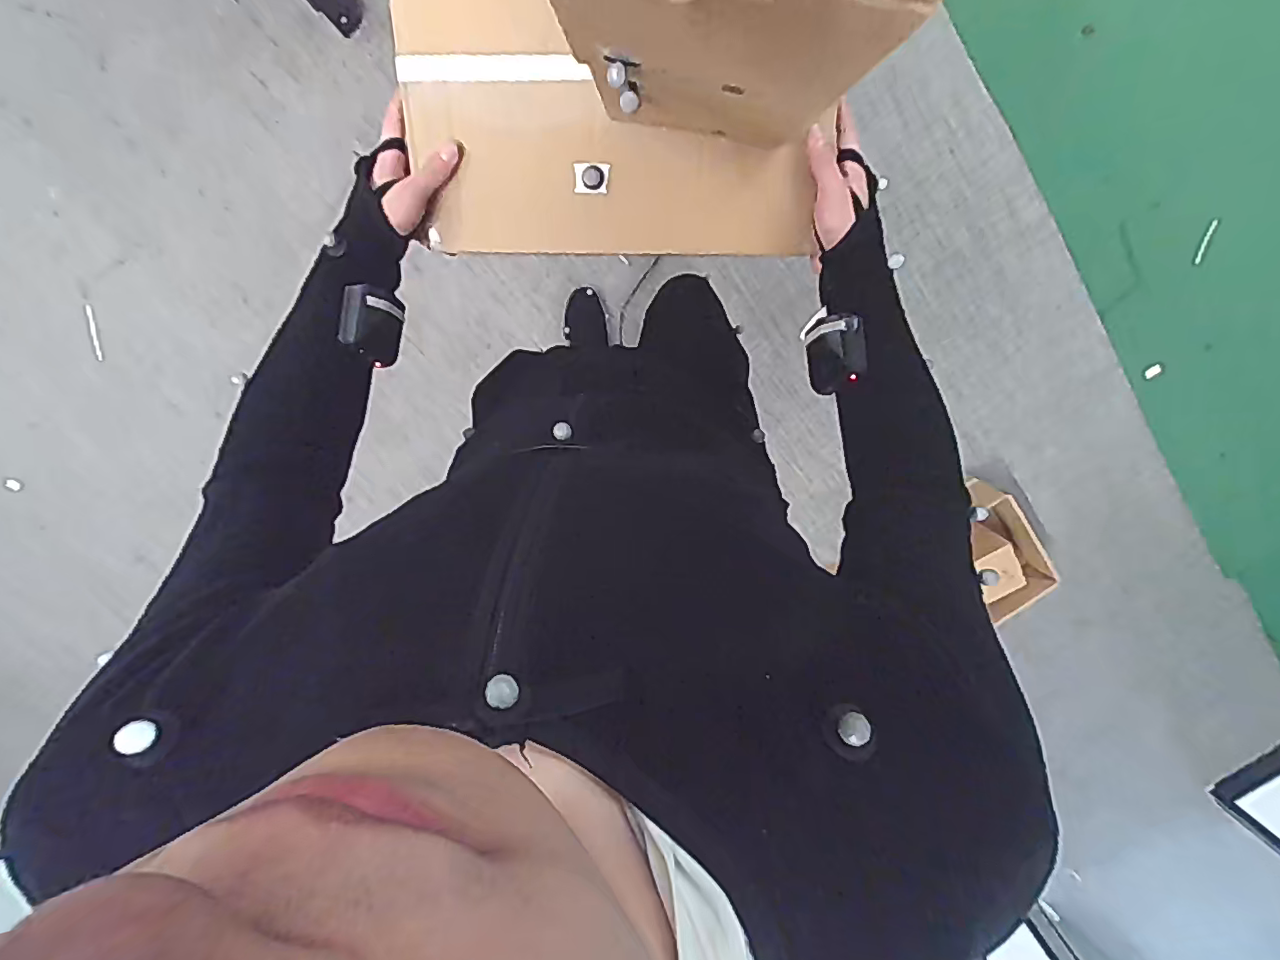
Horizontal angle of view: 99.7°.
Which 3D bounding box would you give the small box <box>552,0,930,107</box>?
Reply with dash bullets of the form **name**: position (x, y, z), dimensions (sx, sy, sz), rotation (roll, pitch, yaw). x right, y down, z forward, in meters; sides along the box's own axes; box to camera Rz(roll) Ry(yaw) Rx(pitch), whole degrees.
- **small box**: position (0.048, -0.294, 0.236), dimensions (0.168, 0.176, 0.179), rotation (11, 112, -3)
